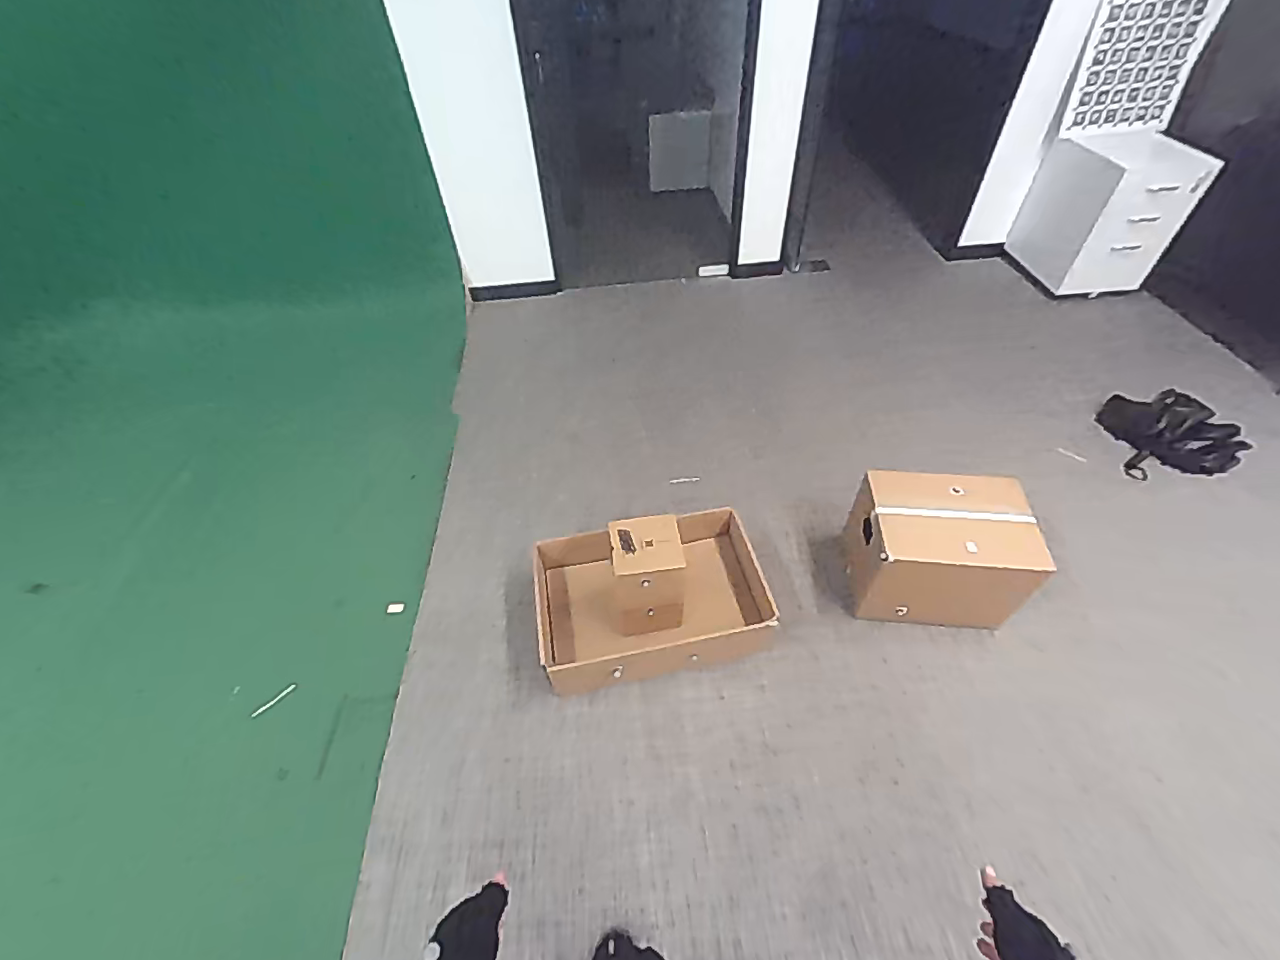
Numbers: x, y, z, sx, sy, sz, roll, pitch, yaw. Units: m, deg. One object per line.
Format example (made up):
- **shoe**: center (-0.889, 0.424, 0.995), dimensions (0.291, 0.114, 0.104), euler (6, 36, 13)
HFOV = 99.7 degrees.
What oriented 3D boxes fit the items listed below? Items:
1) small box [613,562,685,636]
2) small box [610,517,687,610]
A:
- **small box**: center (0.024, 0.321, 1.522), dimensions (0.179, 0.176, 0.168), euler (-8, 48, -6)
- **small box**: center (0.022, 0.219, 1.392), dimensions (0.179, 0.176, 0.168), euler (-6, 48, -4)
